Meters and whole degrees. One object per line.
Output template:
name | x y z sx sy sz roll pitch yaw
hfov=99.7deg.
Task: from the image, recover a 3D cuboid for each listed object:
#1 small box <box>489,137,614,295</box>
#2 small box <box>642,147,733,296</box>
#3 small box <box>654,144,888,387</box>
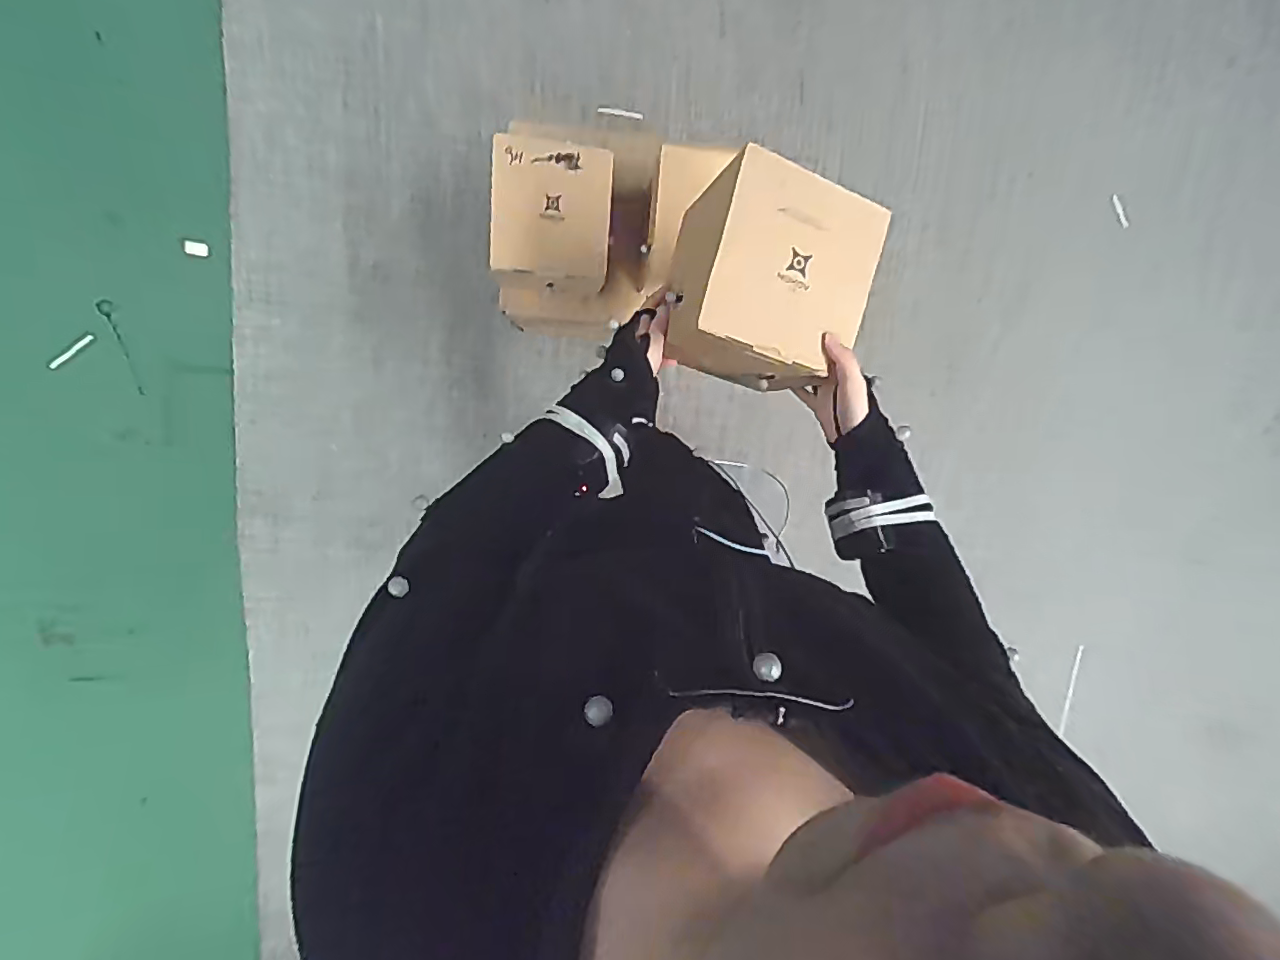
small box | -0.134 -0.388 0.831 0.168 0.176 0.179 3 102 -9
small box | 0.097 -0.391 0.859 0.168 0.176 0.179 3 100 -6
small box | 0.127 -0.209 0.590 0.168 0.176 0.179 15 90 -16
